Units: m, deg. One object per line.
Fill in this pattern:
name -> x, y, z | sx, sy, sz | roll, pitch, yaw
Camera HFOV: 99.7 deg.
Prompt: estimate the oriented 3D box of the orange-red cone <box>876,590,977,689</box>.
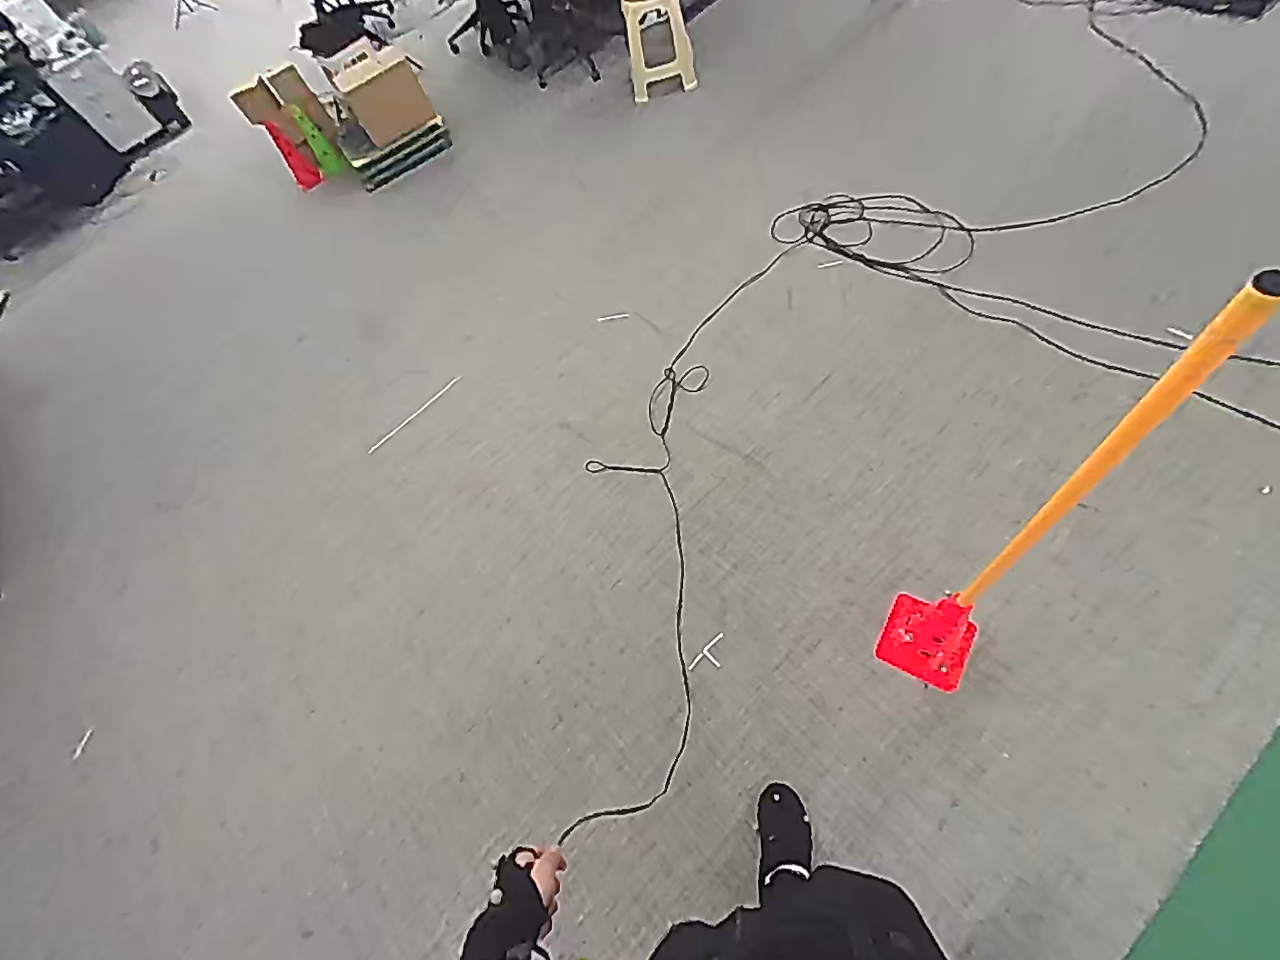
orange-red cone -> 0.700, 0.325, 1.249 | 0.198, 0.360, 0.199 | 25, 69, 24
